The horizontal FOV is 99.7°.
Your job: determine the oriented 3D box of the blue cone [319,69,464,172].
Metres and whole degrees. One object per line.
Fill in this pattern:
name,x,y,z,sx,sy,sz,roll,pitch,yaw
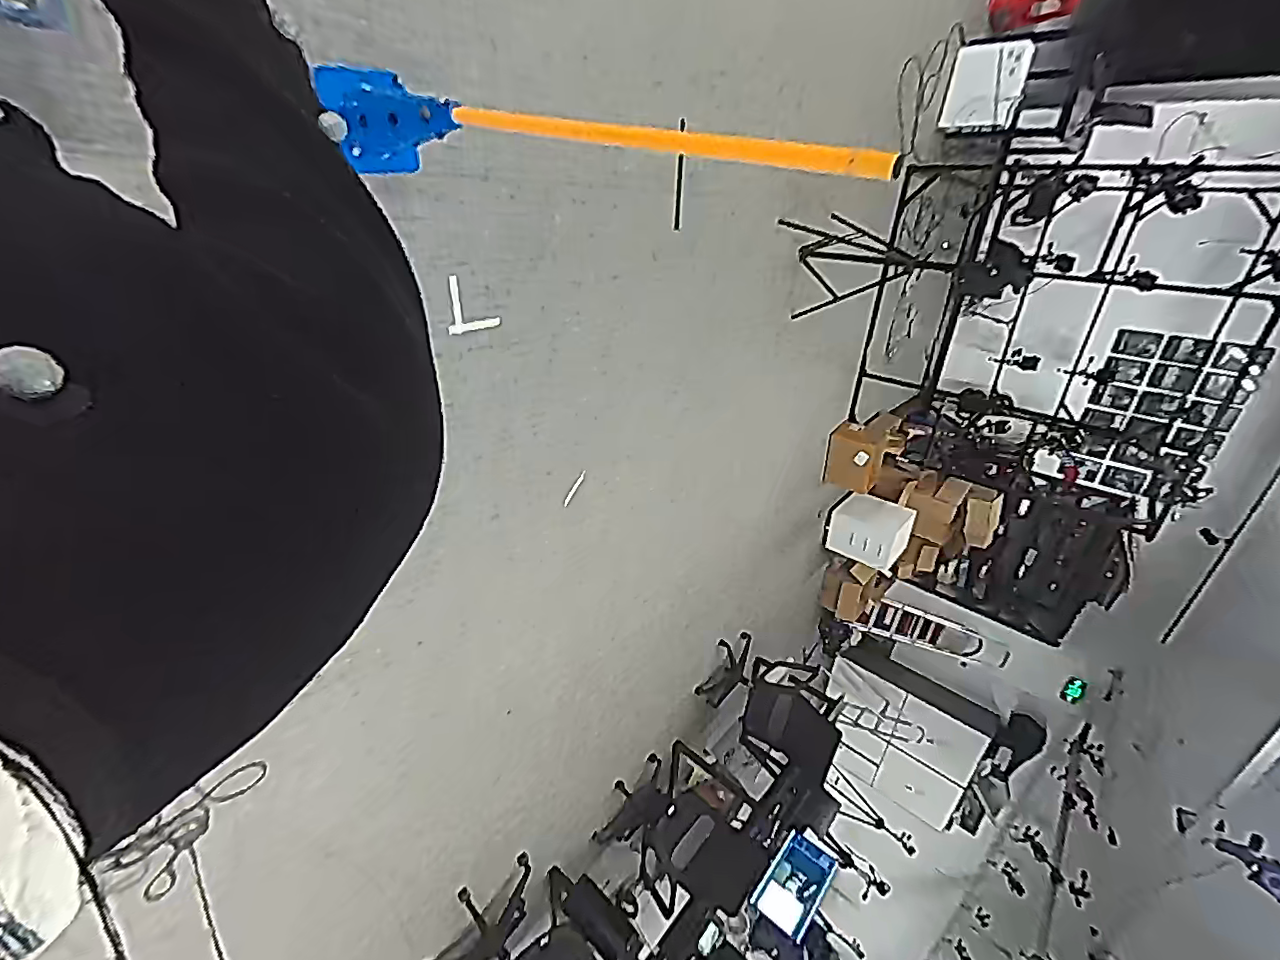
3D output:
blue cone,-0.483,-0.756,1.128,0.193,0.380,0.192,-30,130,-41
